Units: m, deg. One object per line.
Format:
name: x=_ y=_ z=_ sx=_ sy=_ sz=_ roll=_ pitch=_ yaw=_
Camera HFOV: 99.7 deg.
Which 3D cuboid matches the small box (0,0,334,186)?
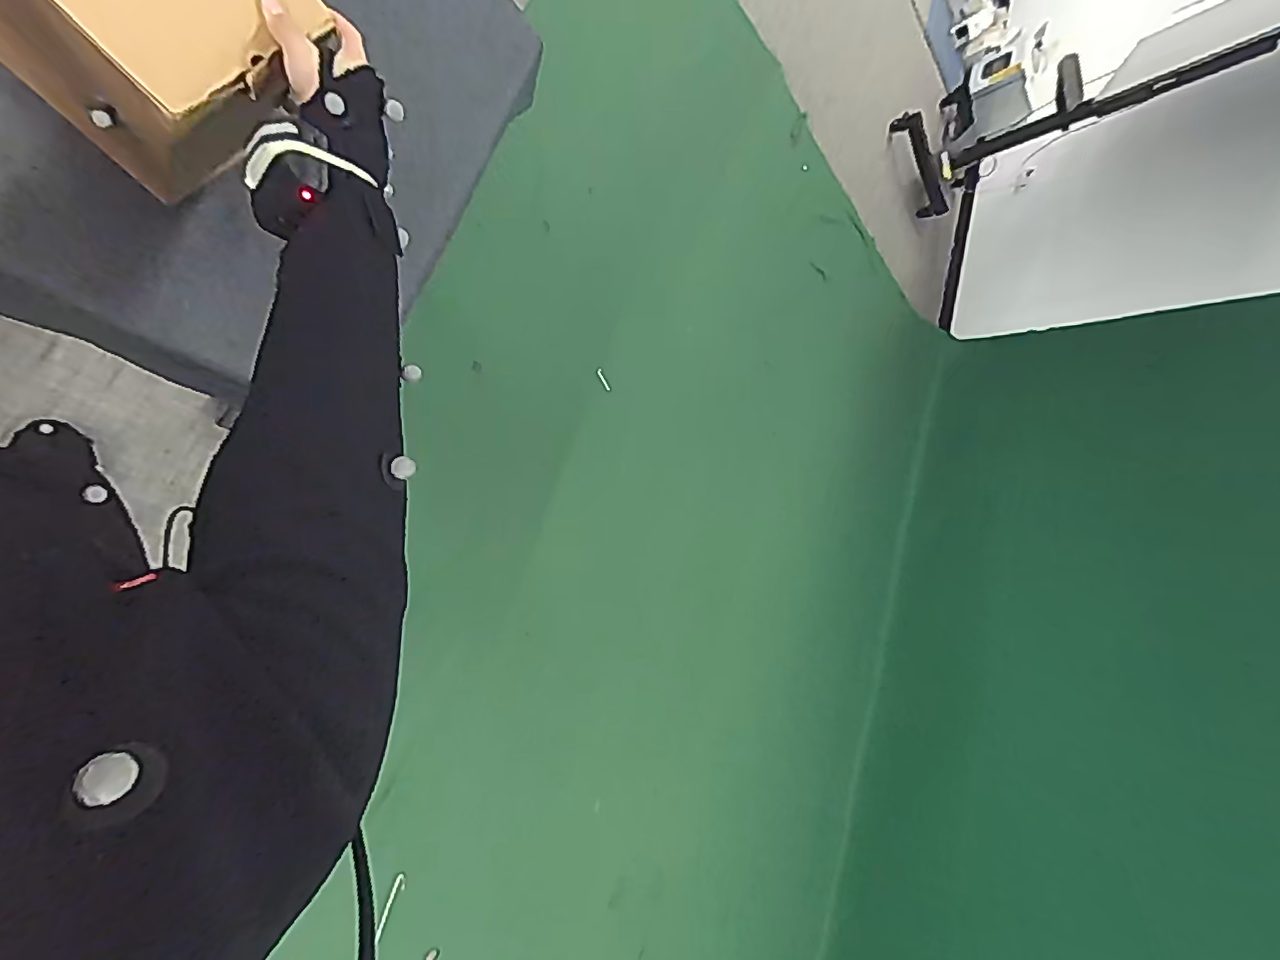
small box: x=-0.391 y=-0.367 z=0.427 sx=0.179 sy=0.176 sz=0.168 roll=47 pitch=60 yaw=-32
